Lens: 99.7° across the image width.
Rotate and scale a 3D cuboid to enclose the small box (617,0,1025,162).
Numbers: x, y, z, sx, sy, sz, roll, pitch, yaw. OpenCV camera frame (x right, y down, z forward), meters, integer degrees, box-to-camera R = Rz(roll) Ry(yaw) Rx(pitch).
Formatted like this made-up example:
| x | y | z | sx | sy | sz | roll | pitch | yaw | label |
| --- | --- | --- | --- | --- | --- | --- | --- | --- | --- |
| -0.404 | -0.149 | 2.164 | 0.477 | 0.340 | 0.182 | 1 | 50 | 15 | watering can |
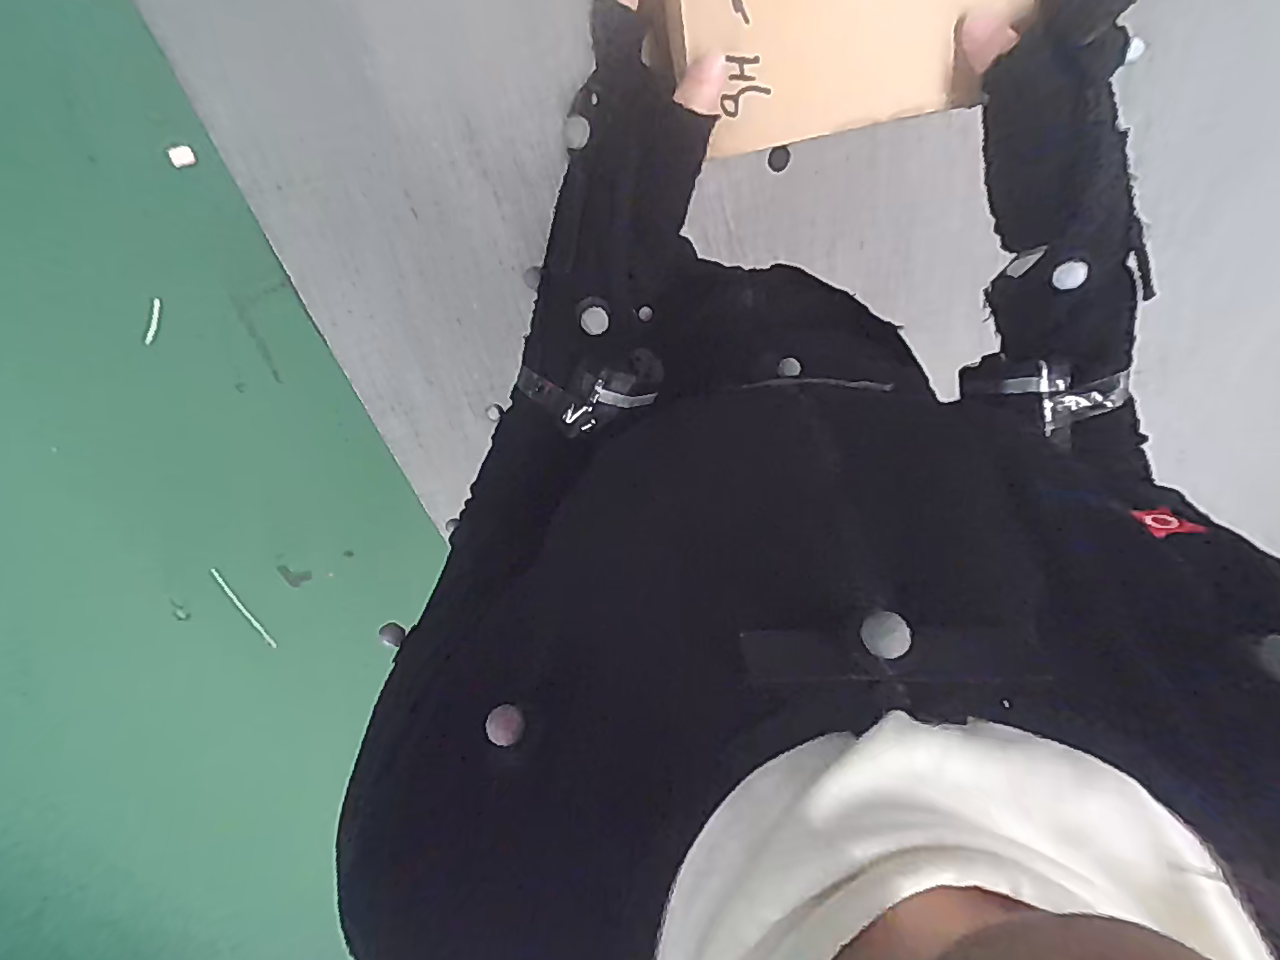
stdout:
| x | y | z | sx | sy | sz | roll | pitch | yaw | label |
| --- | --- | --- | --- | --- | --- | --- | --- | --- | --- |
| 0.082 | -0.292 | 0.305 | 0.179 | 0.176 | 0.168 | -14 | 120 | 1 | small box |
